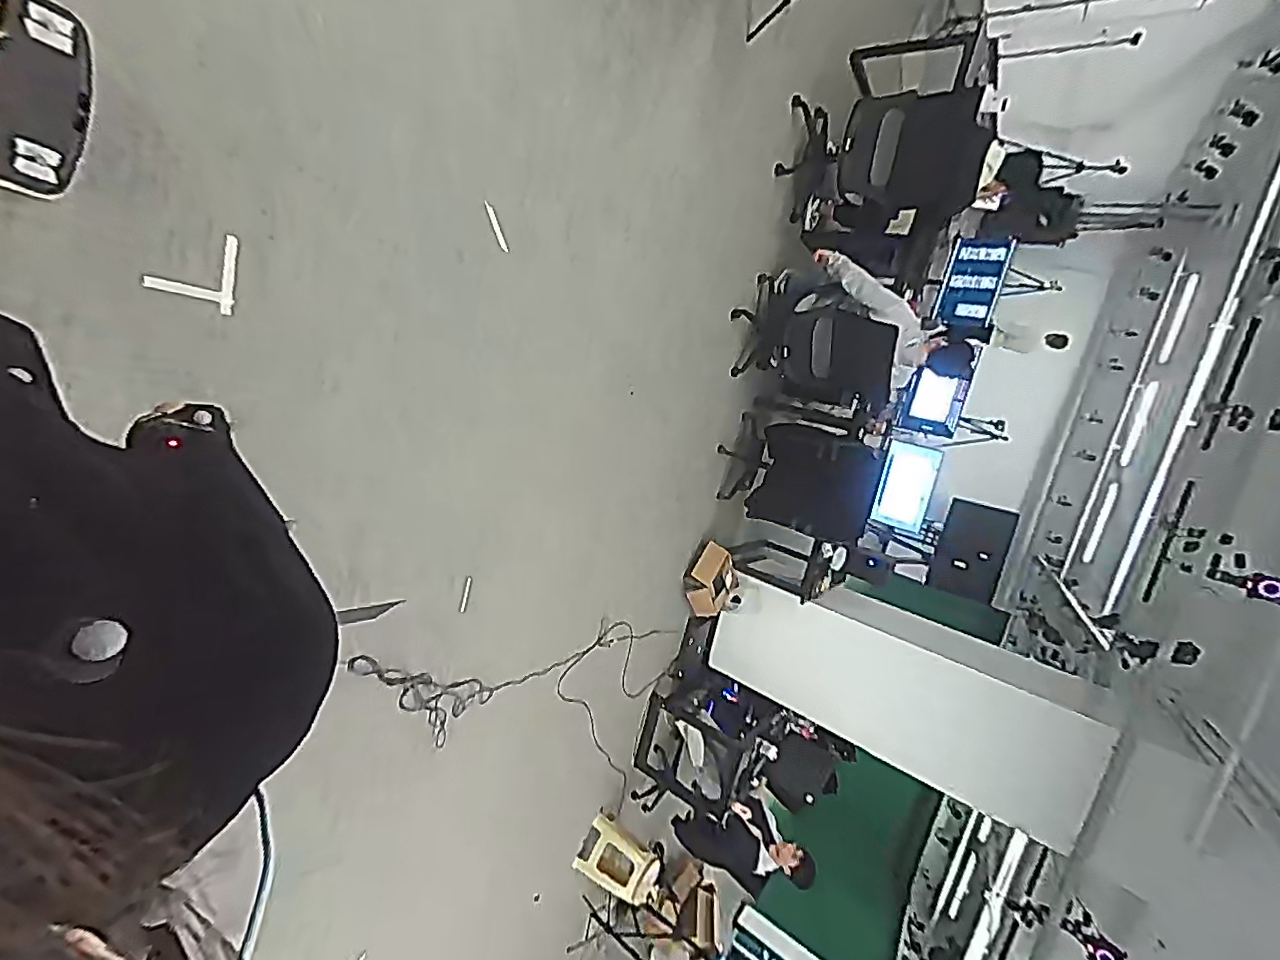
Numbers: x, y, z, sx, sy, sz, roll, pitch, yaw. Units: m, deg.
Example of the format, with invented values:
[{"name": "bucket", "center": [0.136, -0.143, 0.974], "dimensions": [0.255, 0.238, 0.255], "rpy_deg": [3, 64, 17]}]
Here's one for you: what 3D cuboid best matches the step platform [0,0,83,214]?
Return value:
[{"name": "step platform", "center": [-1.138, -0.614, 0.627], "dimensions": [0.684, 0.204, 0.286], "rpy_deg": [14, 94, -57]}]
